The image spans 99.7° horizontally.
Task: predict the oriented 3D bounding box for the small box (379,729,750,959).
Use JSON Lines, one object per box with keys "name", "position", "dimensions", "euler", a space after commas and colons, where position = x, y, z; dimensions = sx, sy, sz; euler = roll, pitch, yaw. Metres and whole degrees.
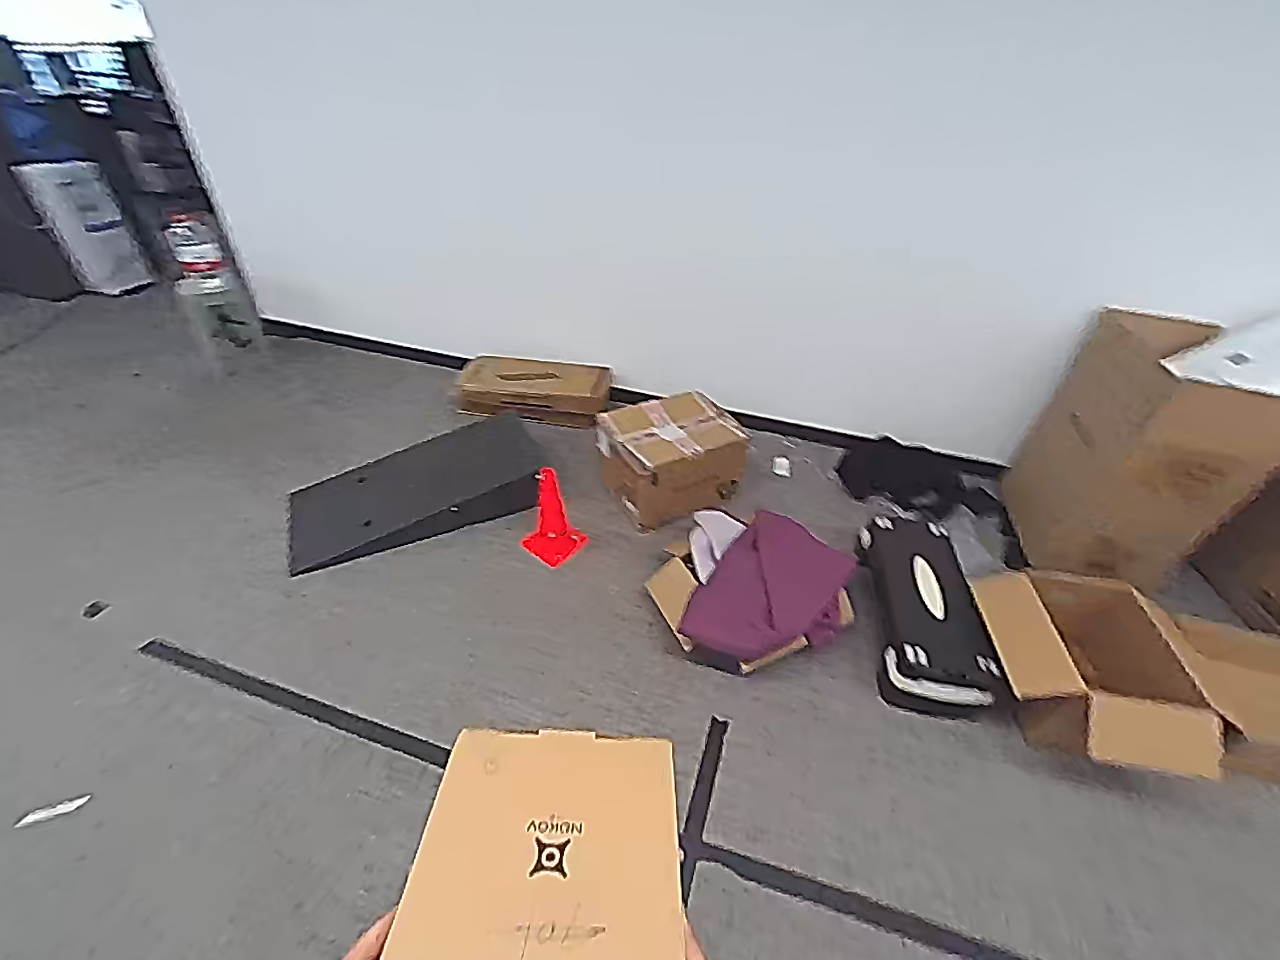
{"name": "small box", "position": [-0.039, 0.271, 0.298], "dimensions": [0.168, 0.176, 0.179], "euler": [3, 26, -3]}
